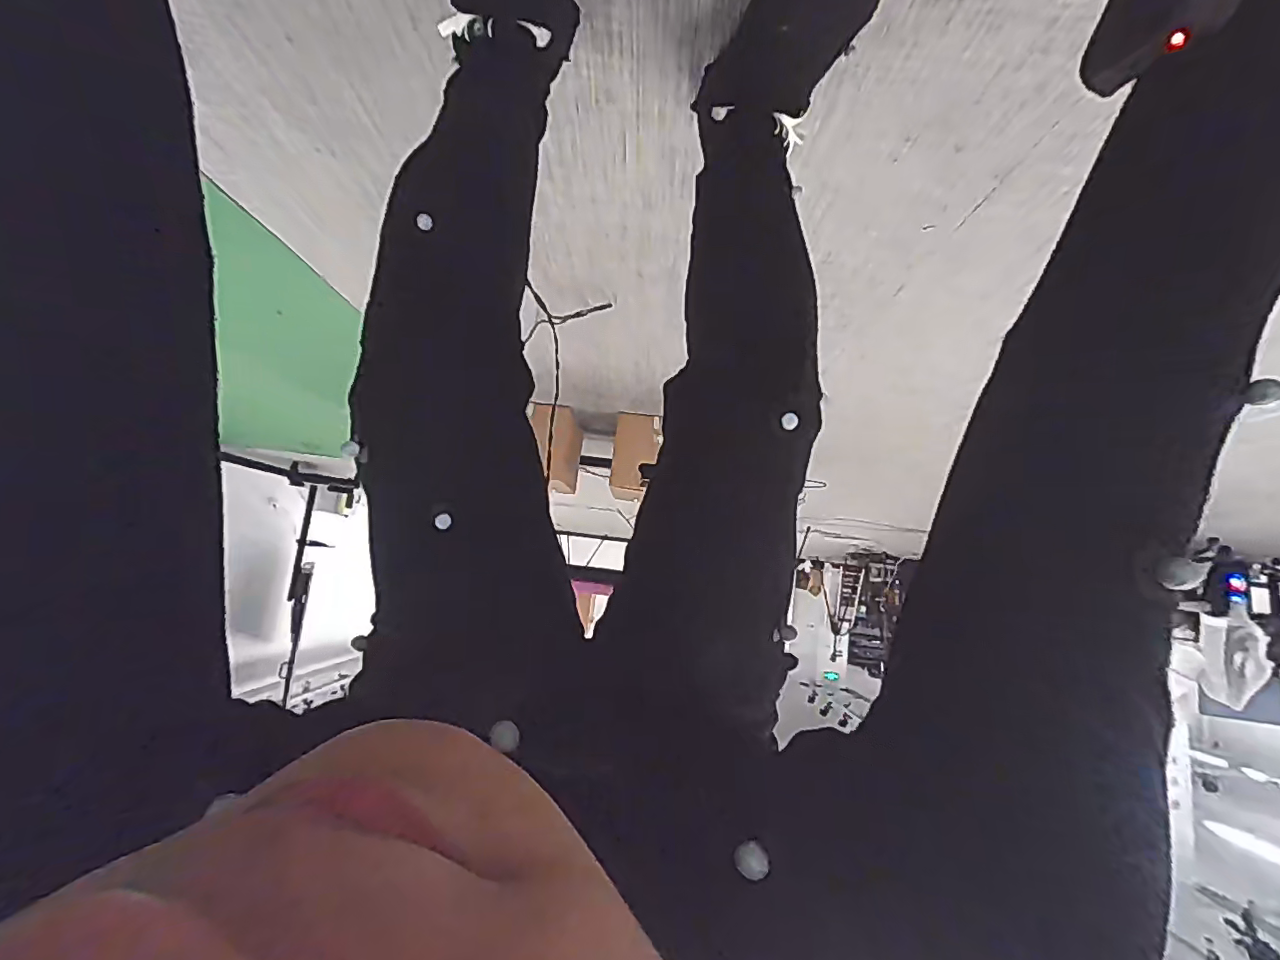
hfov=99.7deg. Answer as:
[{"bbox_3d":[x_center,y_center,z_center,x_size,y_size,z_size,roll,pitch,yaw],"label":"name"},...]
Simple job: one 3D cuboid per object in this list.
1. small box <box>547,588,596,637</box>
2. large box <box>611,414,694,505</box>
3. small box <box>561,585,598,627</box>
[{"bbox_3d":[-0.274,0.531,2.195,0.168,0.176,0.179,6,171,0],"label":"small box"},{"bbox_3d":[0.058,-0.078,2.343,0.320,0.320,0.408,8,172,2],"label":"large box"},{"bbox_3d":[-0.286,0.573,2.467,0.168,0.176,0.179,8,170,0],"label":"small box"}]
